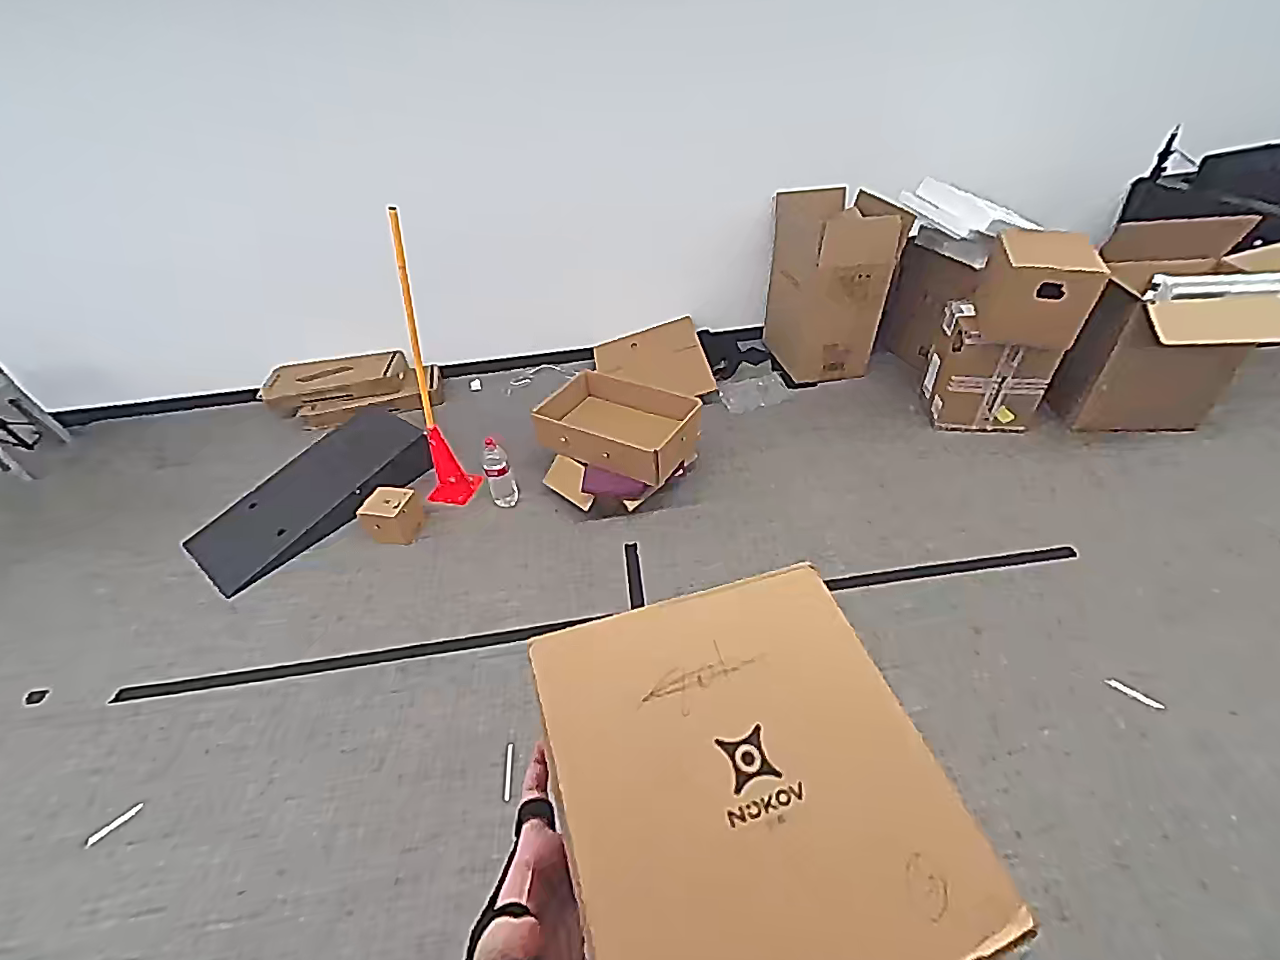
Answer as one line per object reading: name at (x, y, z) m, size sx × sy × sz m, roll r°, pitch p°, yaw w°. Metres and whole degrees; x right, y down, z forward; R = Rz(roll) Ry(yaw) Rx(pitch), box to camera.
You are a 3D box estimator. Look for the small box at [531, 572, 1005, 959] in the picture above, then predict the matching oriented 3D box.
small box at (0.040, 0.185, 0.308) m, size 0.168 × 0.176 × 0.179 m, roll -11°, pitch 50°, yaw -18°
